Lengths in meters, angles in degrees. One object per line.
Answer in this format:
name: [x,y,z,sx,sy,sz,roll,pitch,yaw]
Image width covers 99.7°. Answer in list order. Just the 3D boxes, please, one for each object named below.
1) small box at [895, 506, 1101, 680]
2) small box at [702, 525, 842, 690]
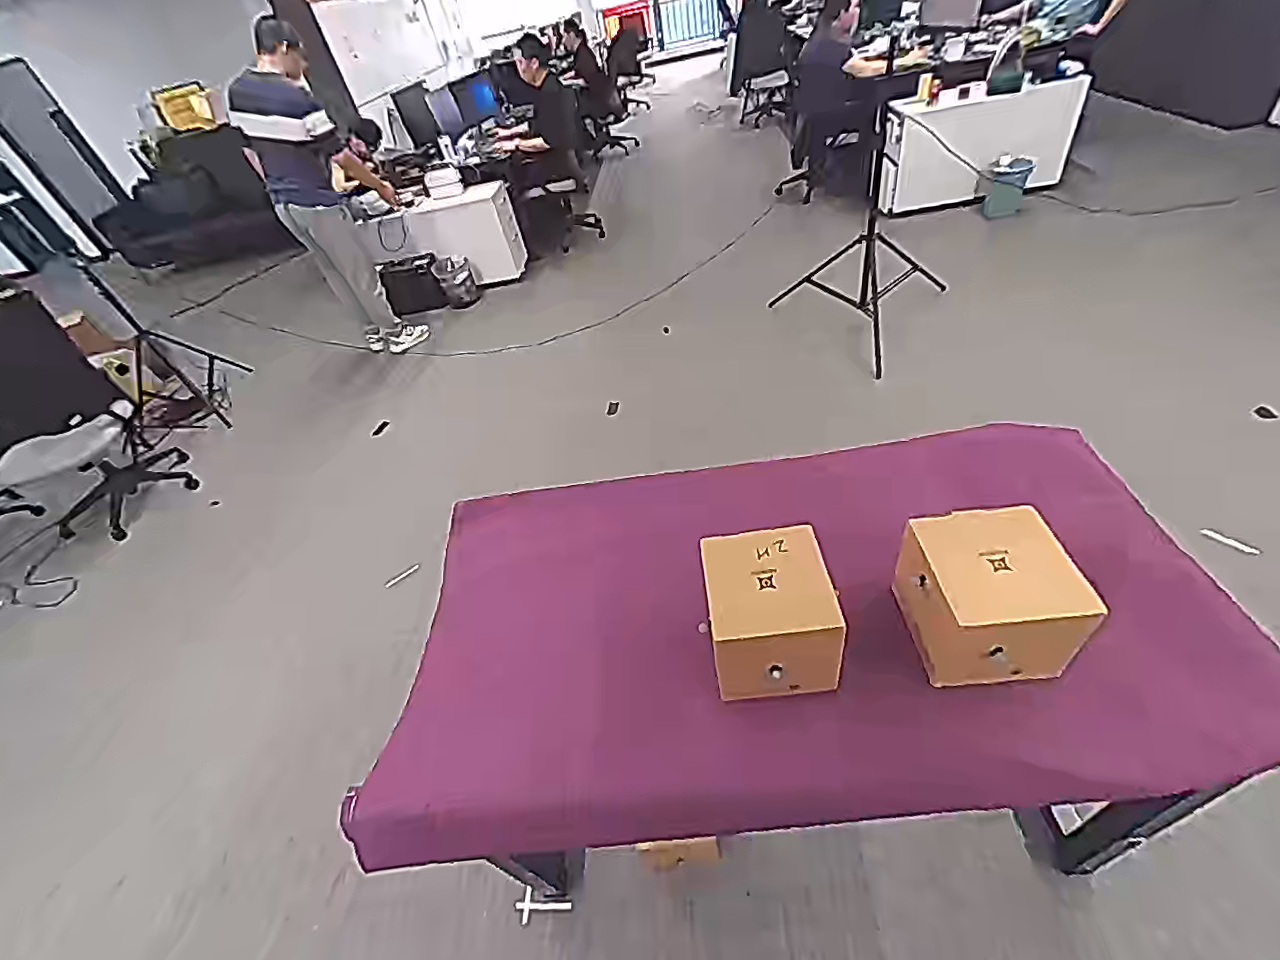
small box: [0.474,0.163,0.751,0.168,0.176,0.179,-8,43,7]
small box: [0.187,0.193,0.793,0.168,0.176,0.179,-7,41,6]
